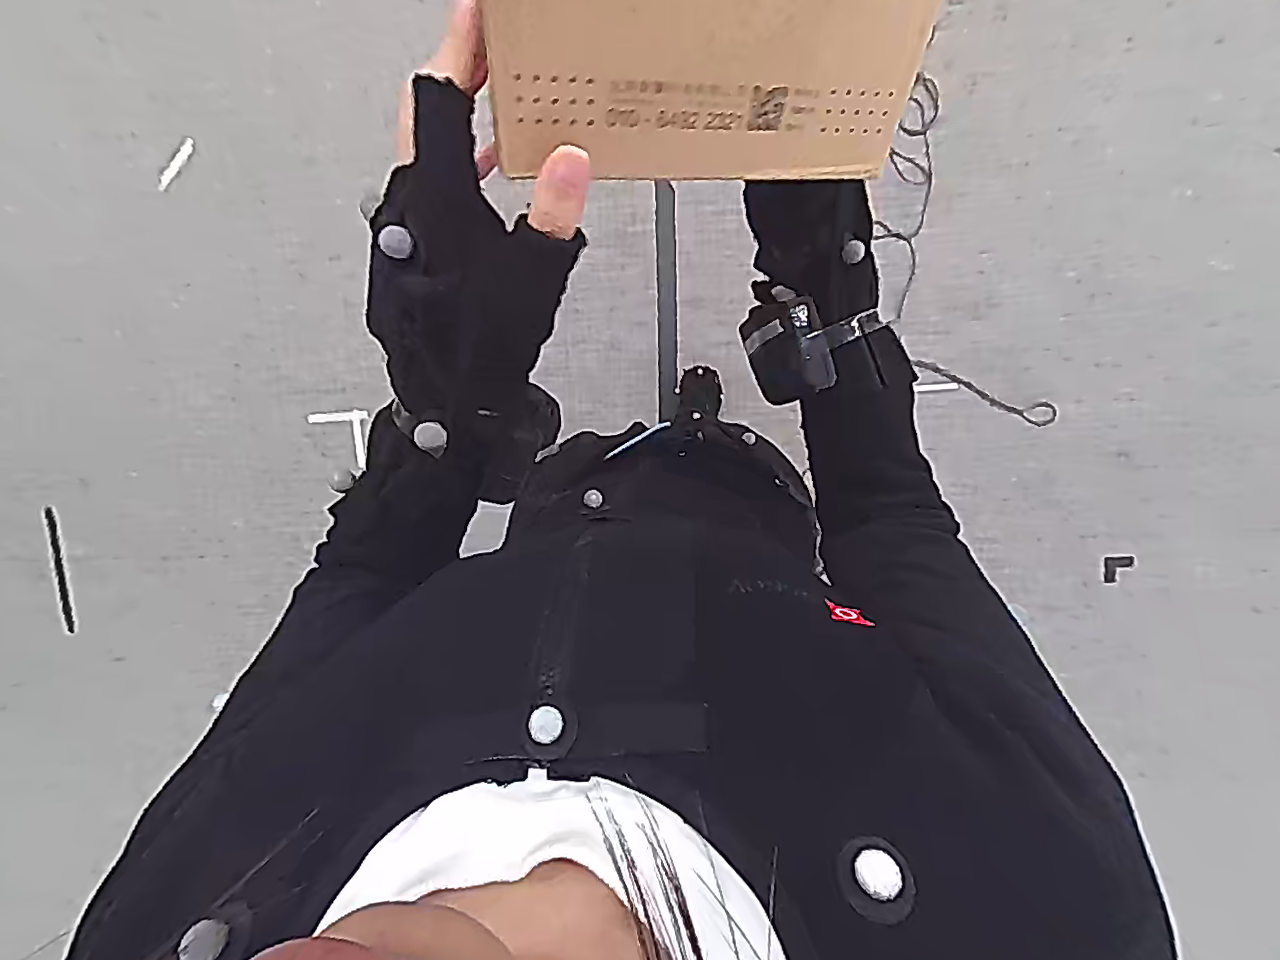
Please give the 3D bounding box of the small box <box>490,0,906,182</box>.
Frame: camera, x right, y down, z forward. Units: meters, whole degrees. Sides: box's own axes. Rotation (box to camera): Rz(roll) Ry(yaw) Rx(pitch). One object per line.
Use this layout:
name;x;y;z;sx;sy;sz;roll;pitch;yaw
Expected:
small box;0.016;-0.249;0.239;0.168;0.179;0.176;-4;137;-9
